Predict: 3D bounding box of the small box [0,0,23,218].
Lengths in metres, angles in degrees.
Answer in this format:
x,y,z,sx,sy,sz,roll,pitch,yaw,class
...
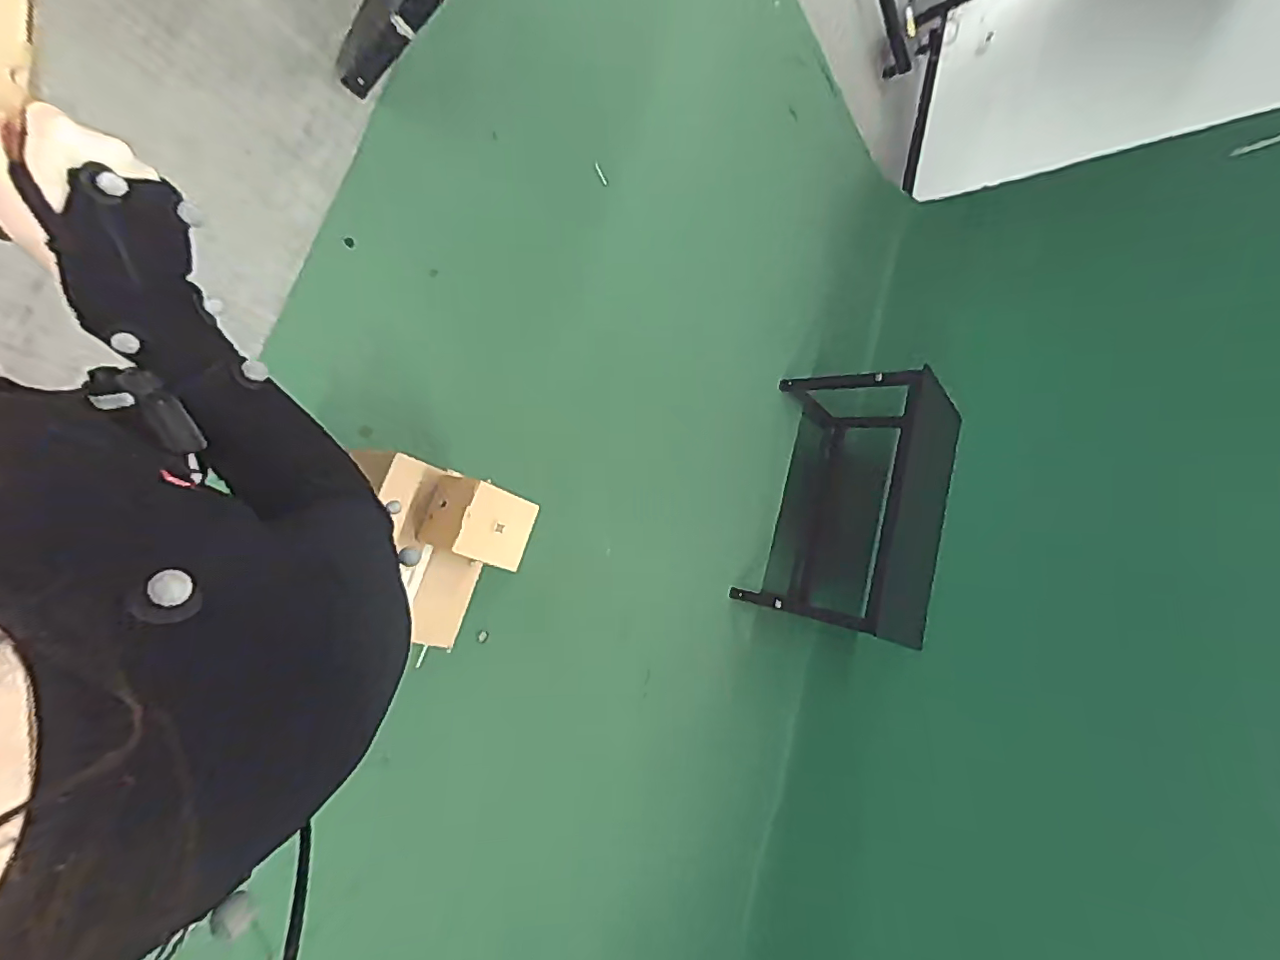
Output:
x,y,z,sx,sy,sz,roll,pitch,yaw,class
-0.481,-0.259,0.301,0.179,0.176,0.168,3,99,-49,small box

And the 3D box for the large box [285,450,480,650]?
x,y,z,sx,sy,sz,roll,pitch,yaw,class
-0.615,0.168,1.365,0.320,0.320,0.408,29,74,-43,large box

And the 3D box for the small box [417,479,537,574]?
x,y,z,sx,sy,sz,roll,pitch,yaw,class
-0.378,0.103,1.253,0.179,0.176,0.168,30,73,-44,small box
